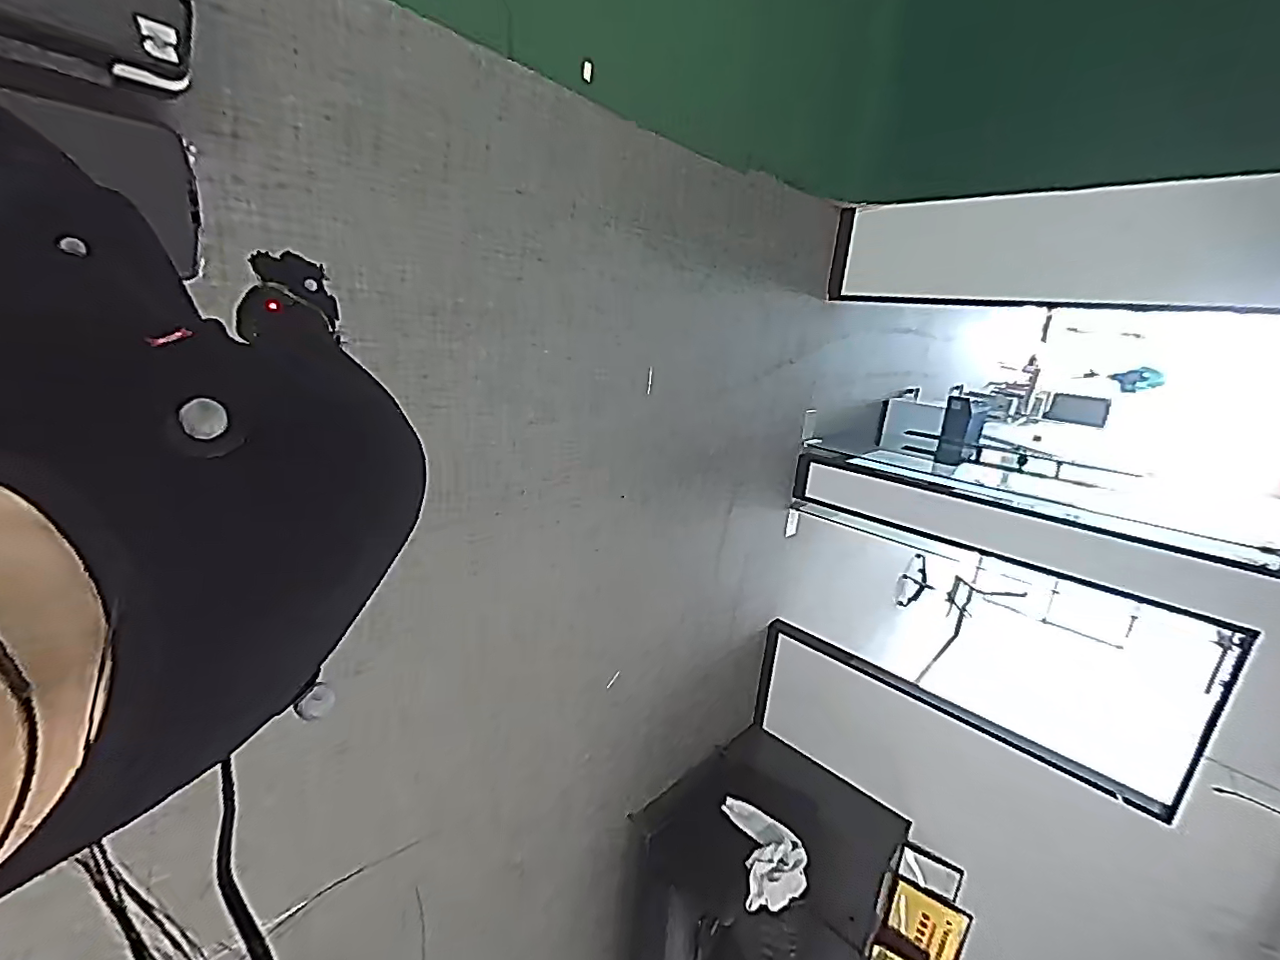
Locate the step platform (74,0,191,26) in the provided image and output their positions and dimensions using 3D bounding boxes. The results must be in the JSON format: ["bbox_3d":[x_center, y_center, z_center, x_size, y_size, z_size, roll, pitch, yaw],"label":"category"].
[{"bbox_3d":[-0.903,-0.783,0.557,0.684,0.204,0.286,-11,114,-45],"label":"step platform"}]
